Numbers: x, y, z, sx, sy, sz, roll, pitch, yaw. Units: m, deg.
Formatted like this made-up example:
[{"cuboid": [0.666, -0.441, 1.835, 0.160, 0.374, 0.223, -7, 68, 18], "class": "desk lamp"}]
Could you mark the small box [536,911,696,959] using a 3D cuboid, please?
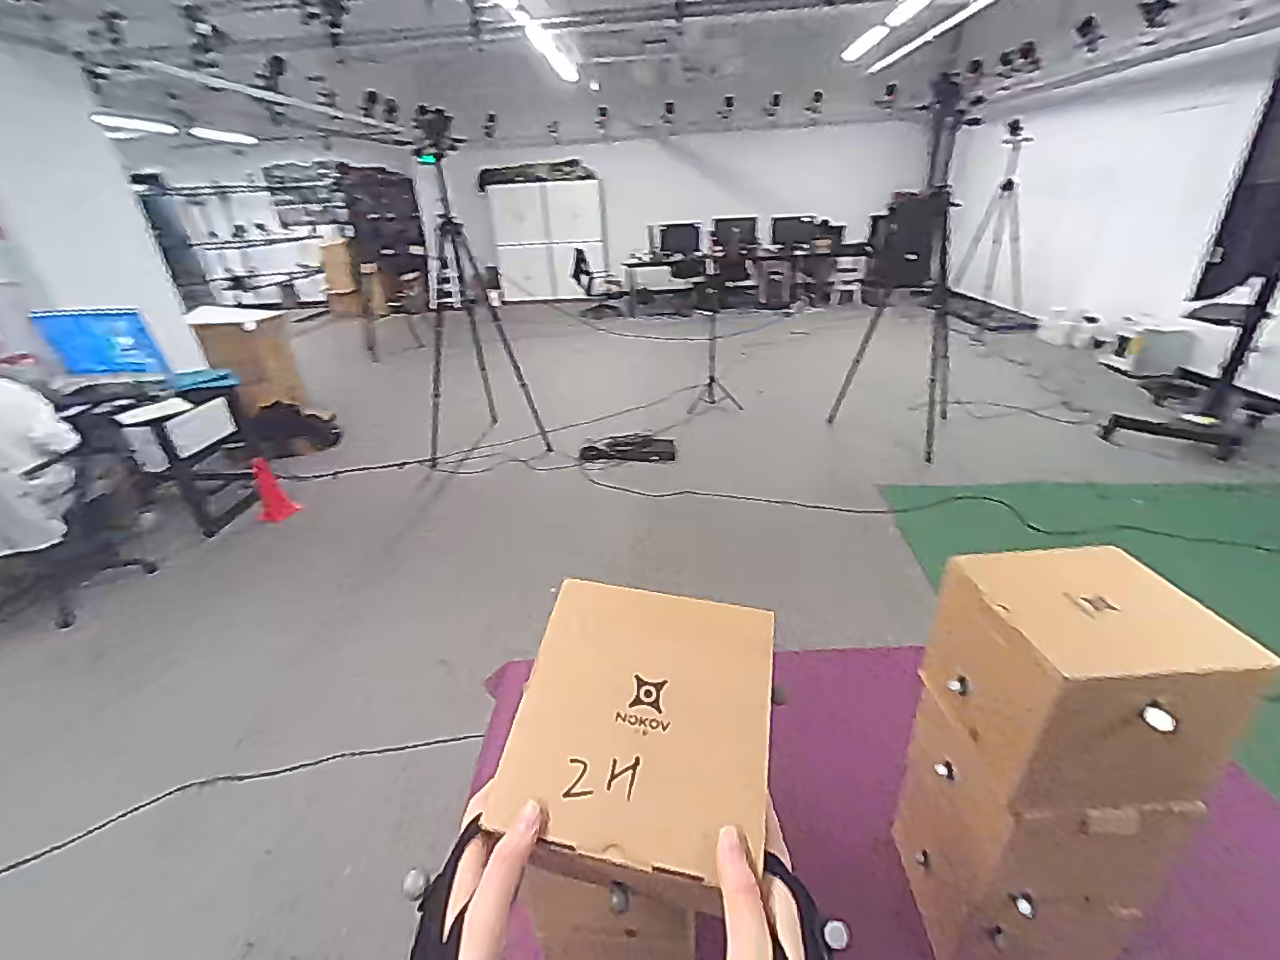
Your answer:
[{"cuboid": [-0.017, 0.507, 0.669, 0.168, 0.176, 0.179, -1, 28, 7], "class": "small box"}]

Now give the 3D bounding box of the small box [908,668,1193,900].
[{"cuboid": [0.421, 0.328, 0.594, 0.168, 0.176, 0.179, -3, 26, 1], "class": "small box"}]

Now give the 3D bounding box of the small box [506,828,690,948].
[{"cuboid": [-0.029, 0.360, 0.593, 0.168, 0.176, 0.179, -2, 26, 7], "class": "small box"}]

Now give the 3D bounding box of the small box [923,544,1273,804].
[{"cuboid": [0.407, 0.182, 0.523, 0.179, 0.176, 0.168, -5, 27, 1], "class": "small box"}]

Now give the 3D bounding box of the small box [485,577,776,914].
[{"cuboid": [0.007, 0.204, 0.420, 0.168, 0.176, 0.179, 7, 49, 11], "class": "small box"}]
